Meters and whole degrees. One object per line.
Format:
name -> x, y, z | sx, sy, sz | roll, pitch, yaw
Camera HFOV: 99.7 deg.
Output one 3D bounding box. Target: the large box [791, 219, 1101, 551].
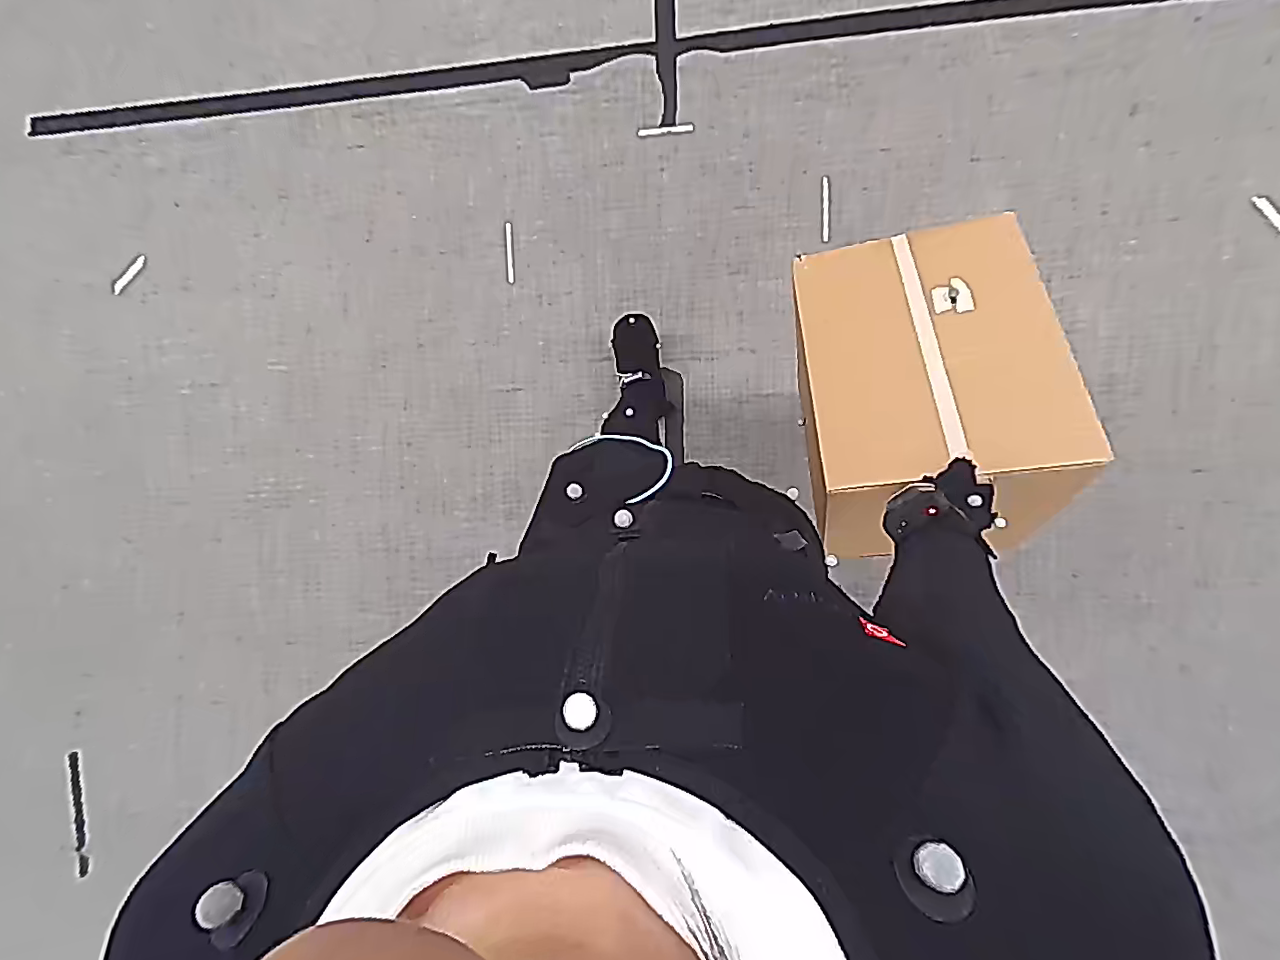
large box -> 0.436, -0.130, 0.882 | 0.320, 0.320, 0.408 | -7, 64, 13
